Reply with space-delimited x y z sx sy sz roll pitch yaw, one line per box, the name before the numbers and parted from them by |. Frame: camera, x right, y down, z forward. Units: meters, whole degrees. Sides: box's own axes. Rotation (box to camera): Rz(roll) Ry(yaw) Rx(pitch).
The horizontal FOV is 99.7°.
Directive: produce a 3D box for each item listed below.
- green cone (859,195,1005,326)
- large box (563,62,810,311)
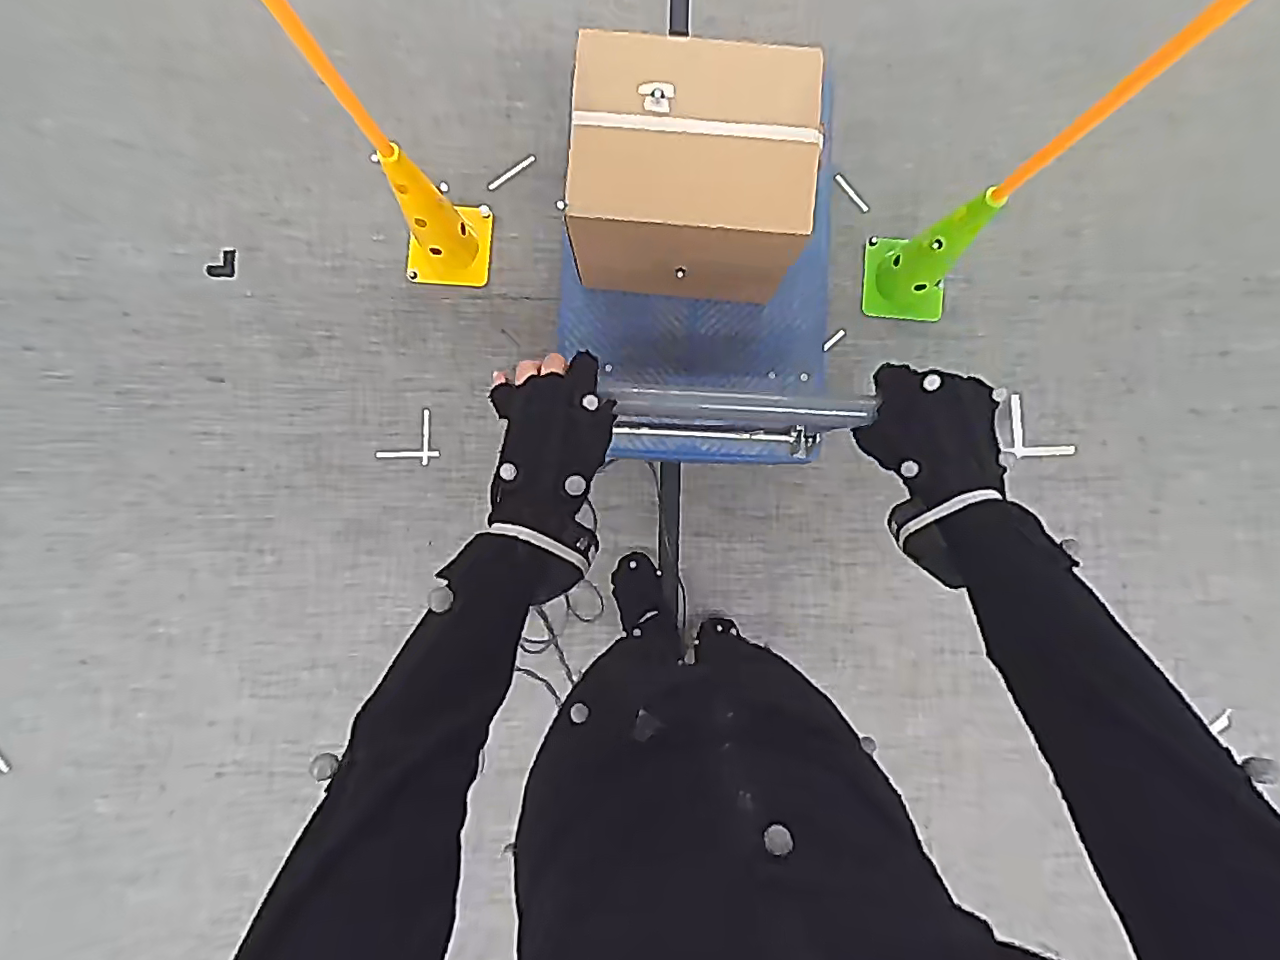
green cone | 0.657 -0.502 1.192 0.202 0.368 0.200 4 87 -1
large box | 0.082 -0.536 1.049 0.408 0.320 0.320 4 87 1
